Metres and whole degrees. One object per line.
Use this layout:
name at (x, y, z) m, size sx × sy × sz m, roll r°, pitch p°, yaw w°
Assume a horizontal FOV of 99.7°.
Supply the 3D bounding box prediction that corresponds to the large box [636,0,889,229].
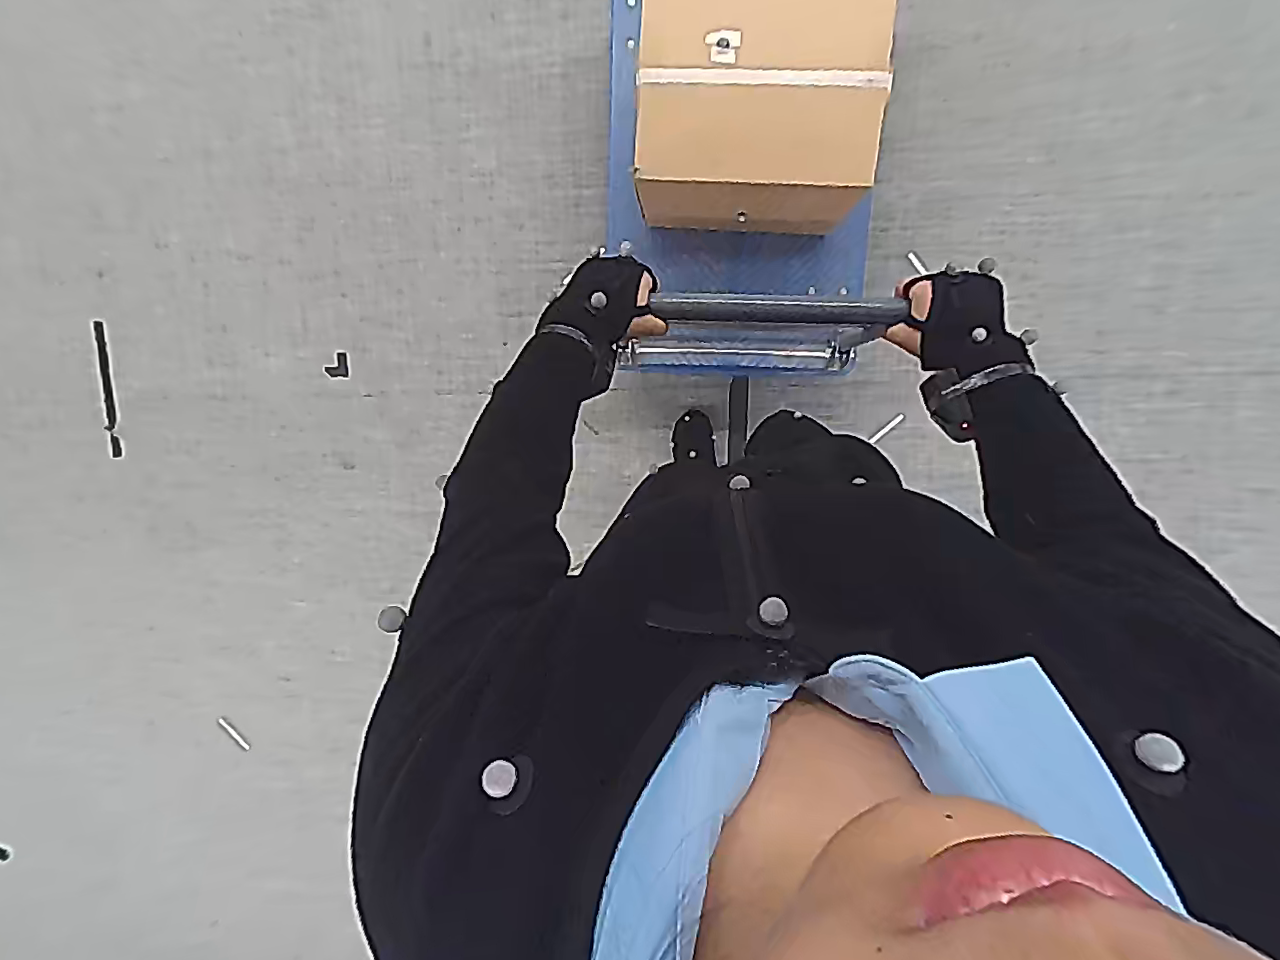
large box at (0.213, -0.689, 1.047) m, size 0.408 × 0.320 × 0.320 m, roll 4°, pitch 100°, yaw 5°
